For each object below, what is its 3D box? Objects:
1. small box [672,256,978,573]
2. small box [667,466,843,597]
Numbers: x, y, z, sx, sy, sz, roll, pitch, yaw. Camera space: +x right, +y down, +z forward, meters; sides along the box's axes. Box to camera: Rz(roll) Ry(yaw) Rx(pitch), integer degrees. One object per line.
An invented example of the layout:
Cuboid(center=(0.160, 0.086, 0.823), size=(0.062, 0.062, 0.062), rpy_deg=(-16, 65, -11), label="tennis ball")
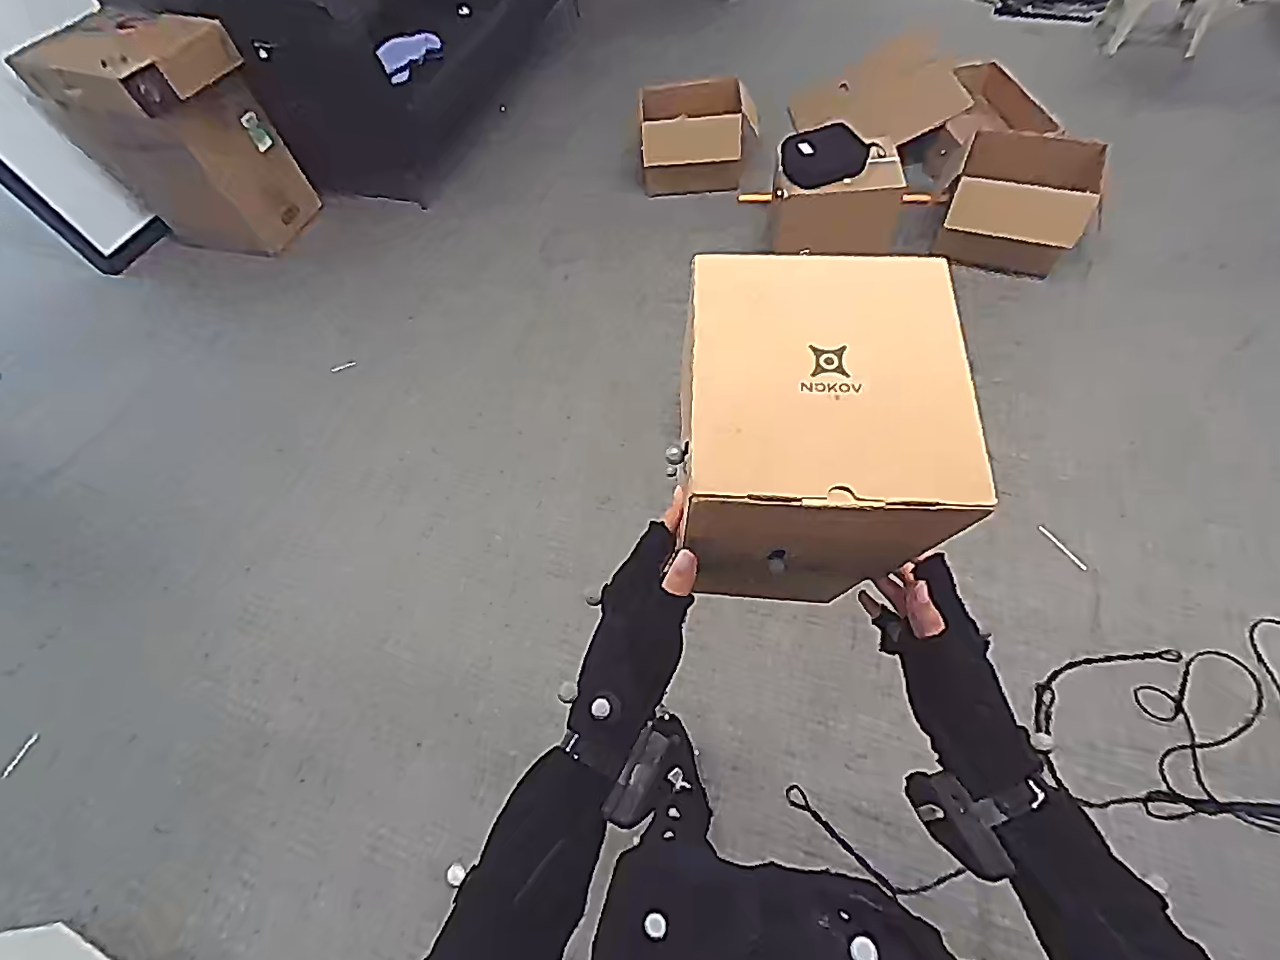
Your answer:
Cuboid(center=(0.110, -0.039, 0.405), size=(0.168, 0.176, 0.179), rpy_deg=(1, 67, 3), label="small box")
Cuboid(center=(0.120, 0.020, 0.556), size=(0.179, 0.176, 0.168), rpy_deg=(4, 67, 3), label="small box")
